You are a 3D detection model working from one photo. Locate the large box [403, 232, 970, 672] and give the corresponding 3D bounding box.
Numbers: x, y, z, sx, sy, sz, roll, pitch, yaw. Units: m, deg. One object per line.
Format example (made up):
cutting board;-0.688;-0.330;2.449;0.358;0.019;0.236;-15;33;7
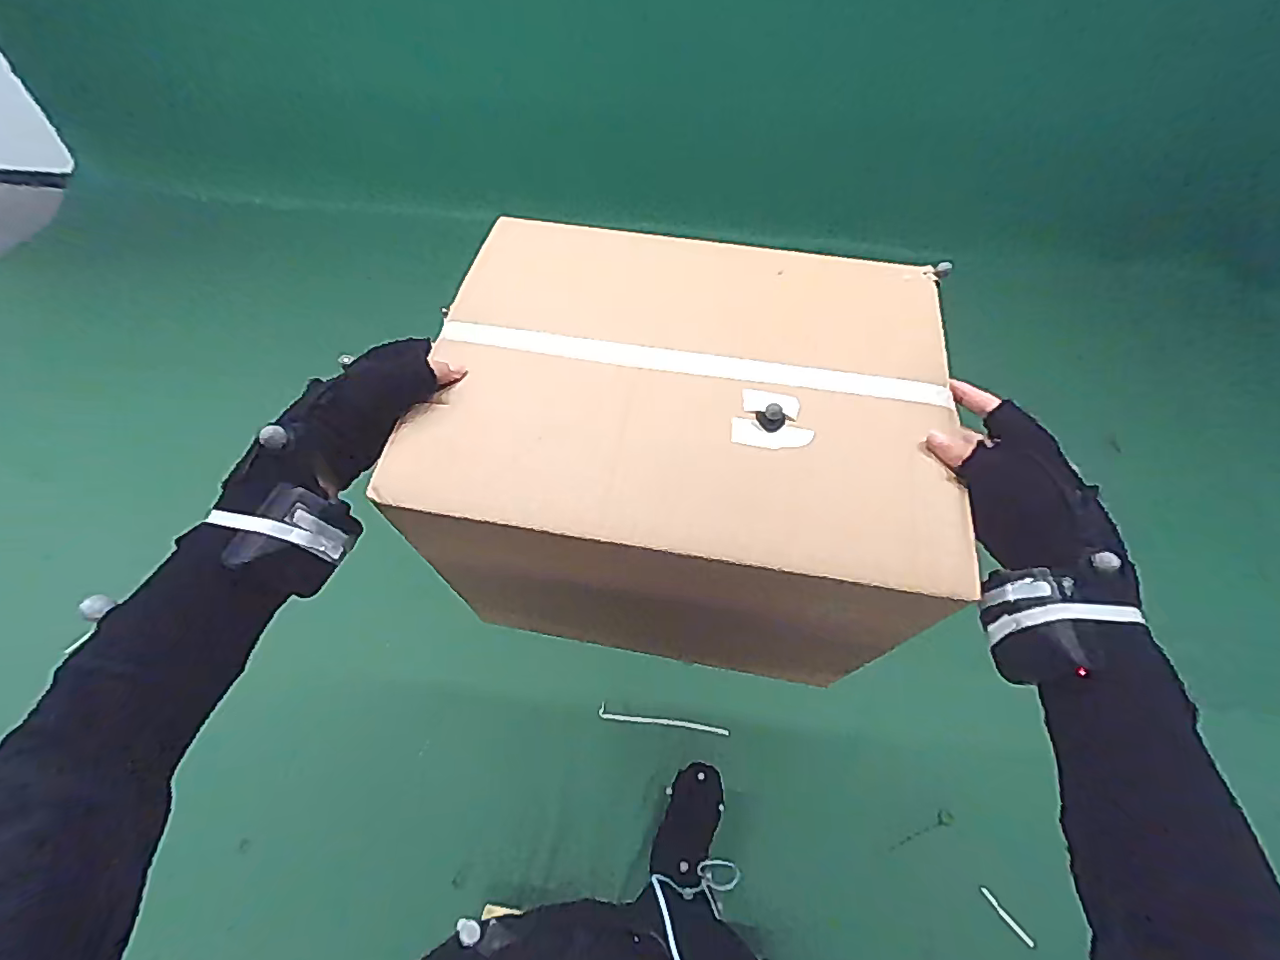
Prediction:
large box;0.044;-0.013;0.572;0.408;0.320;0.320;9;61;4
